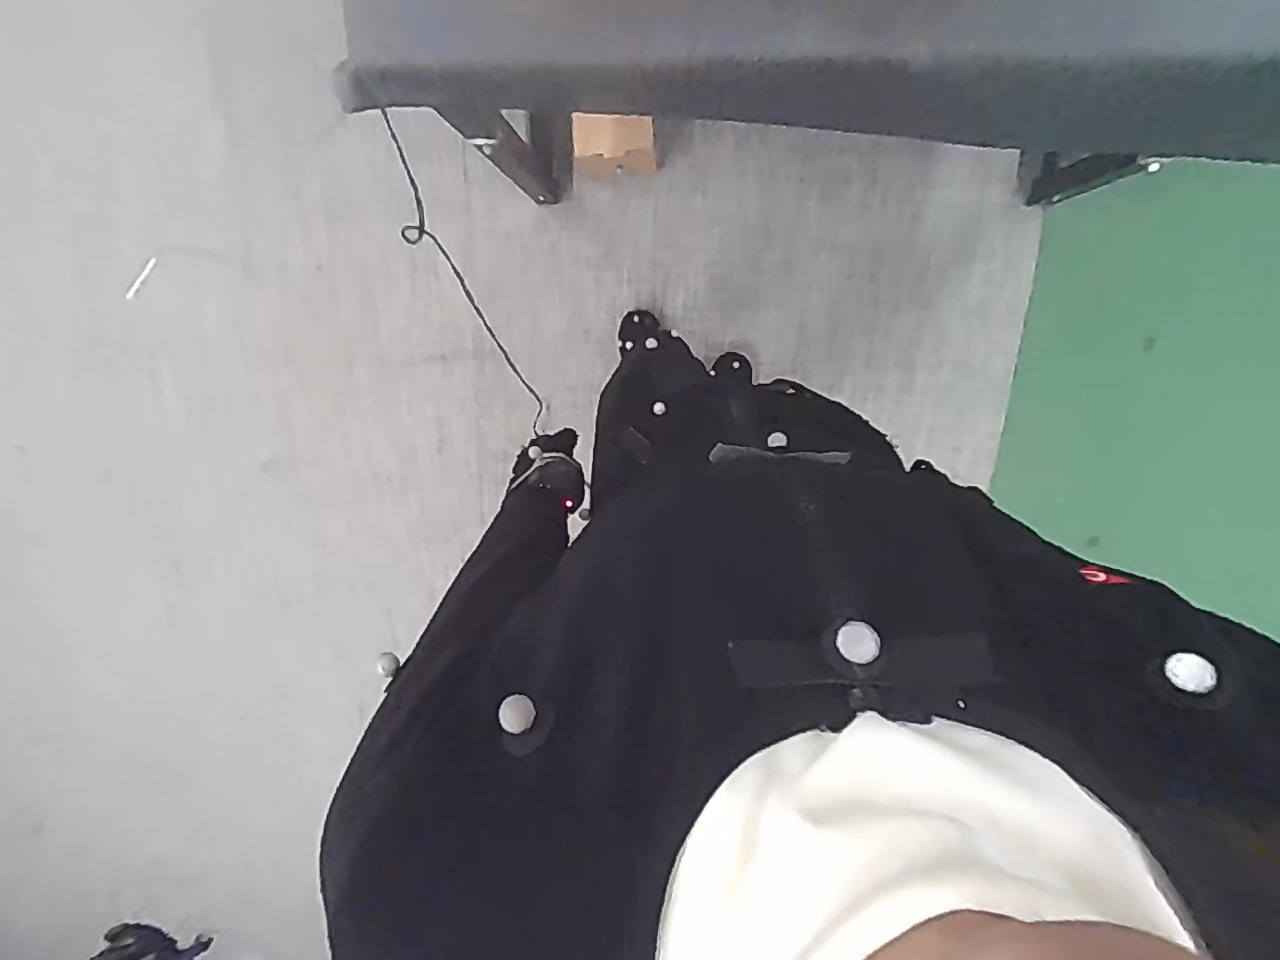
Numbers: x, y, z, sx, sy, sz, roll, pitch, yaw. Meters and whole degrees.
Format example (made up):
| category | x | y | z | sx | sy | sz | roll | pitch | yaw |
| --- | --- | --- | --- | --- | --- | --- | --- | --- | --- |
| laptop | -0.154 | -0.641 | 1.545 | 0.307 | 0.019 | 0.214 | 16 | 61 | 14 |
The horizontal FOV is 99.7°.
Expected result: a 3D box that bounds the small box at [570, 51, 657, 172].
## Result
| category | x | y | z | sx | sy | sz | roll | pitch | yaw |
| --- | --- | --- | --- | --- | --- | --- | --- | --- | --- |
| small box | -0.051 | -0.785 | 1.174 | 0.168 | 0.176 | 0.179 | -2 | 105 | 4 |
